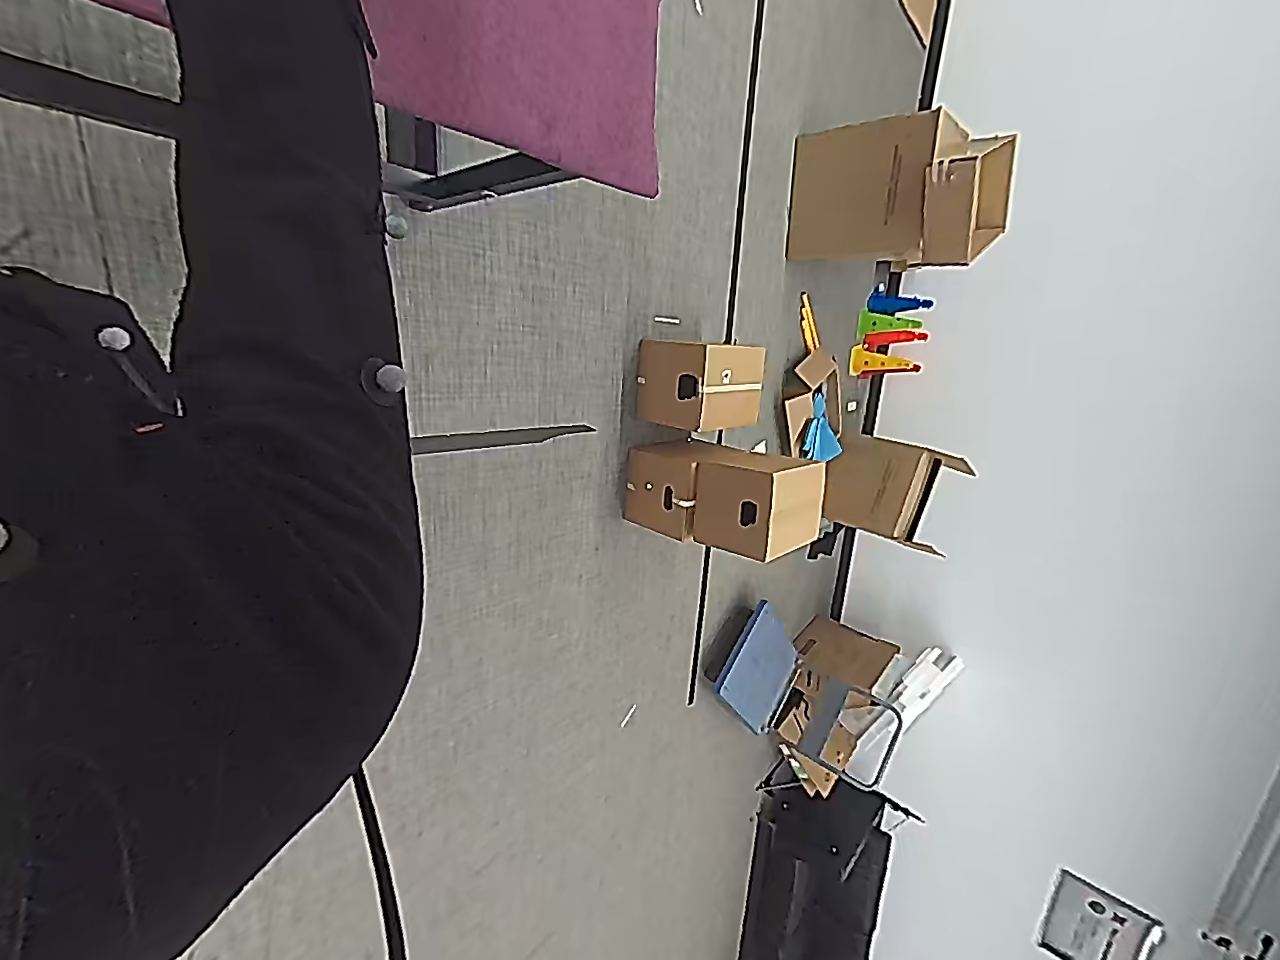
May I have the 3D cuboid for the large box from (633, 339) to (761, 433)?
[{"bbox_3d":[0.223,-0.384,2.121,0.408,0.320,0.320,-13,112,-46],"label":"large box"}]
